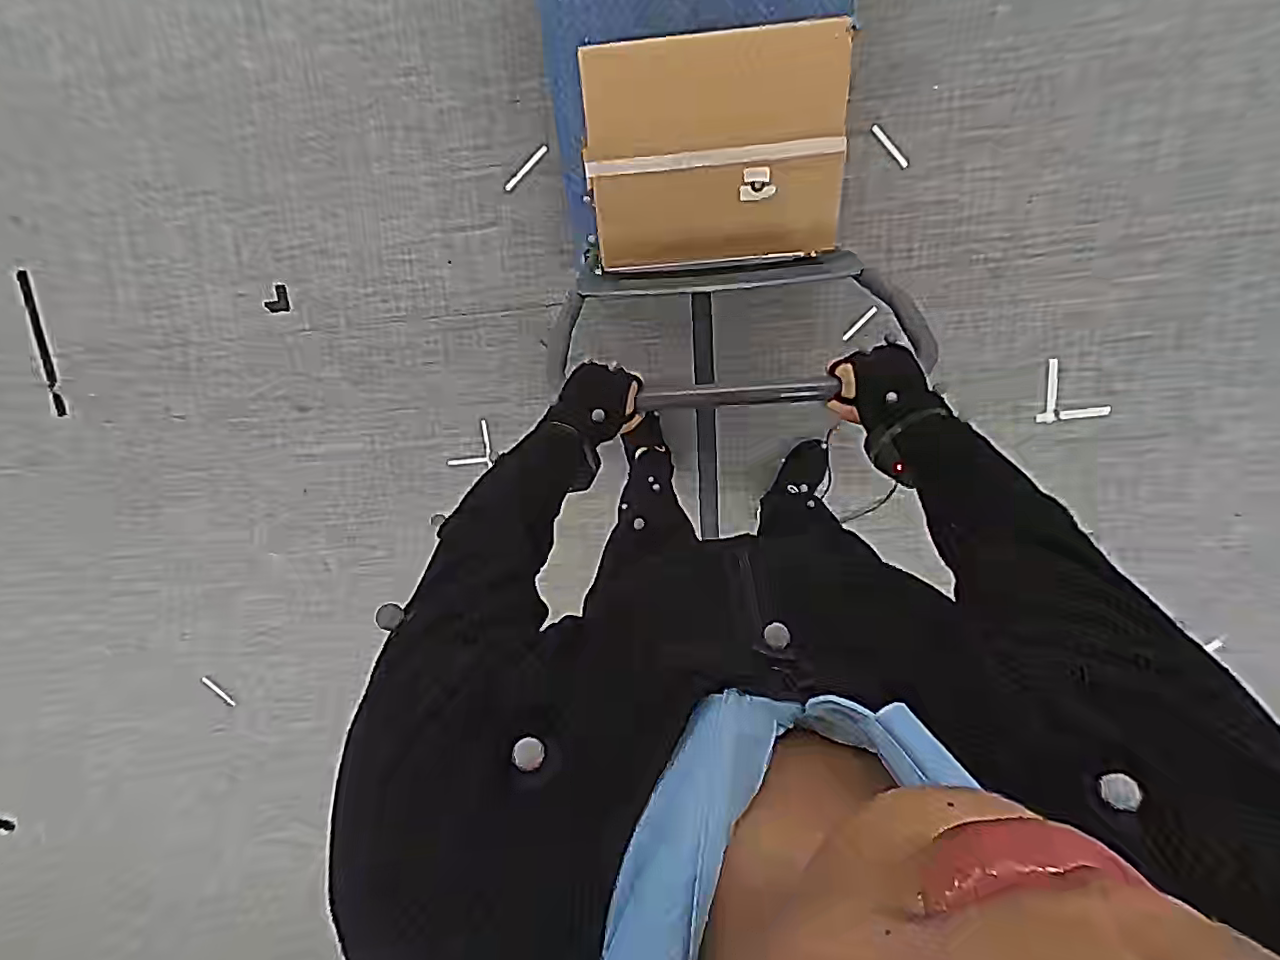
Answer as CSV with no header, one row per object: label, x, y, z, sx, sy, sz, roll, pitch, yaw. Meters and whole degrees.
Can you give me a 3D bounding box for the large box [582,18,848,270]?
large box,0.126,-0.597,1.006,0.408,0.320,0.320,-5,120,4
